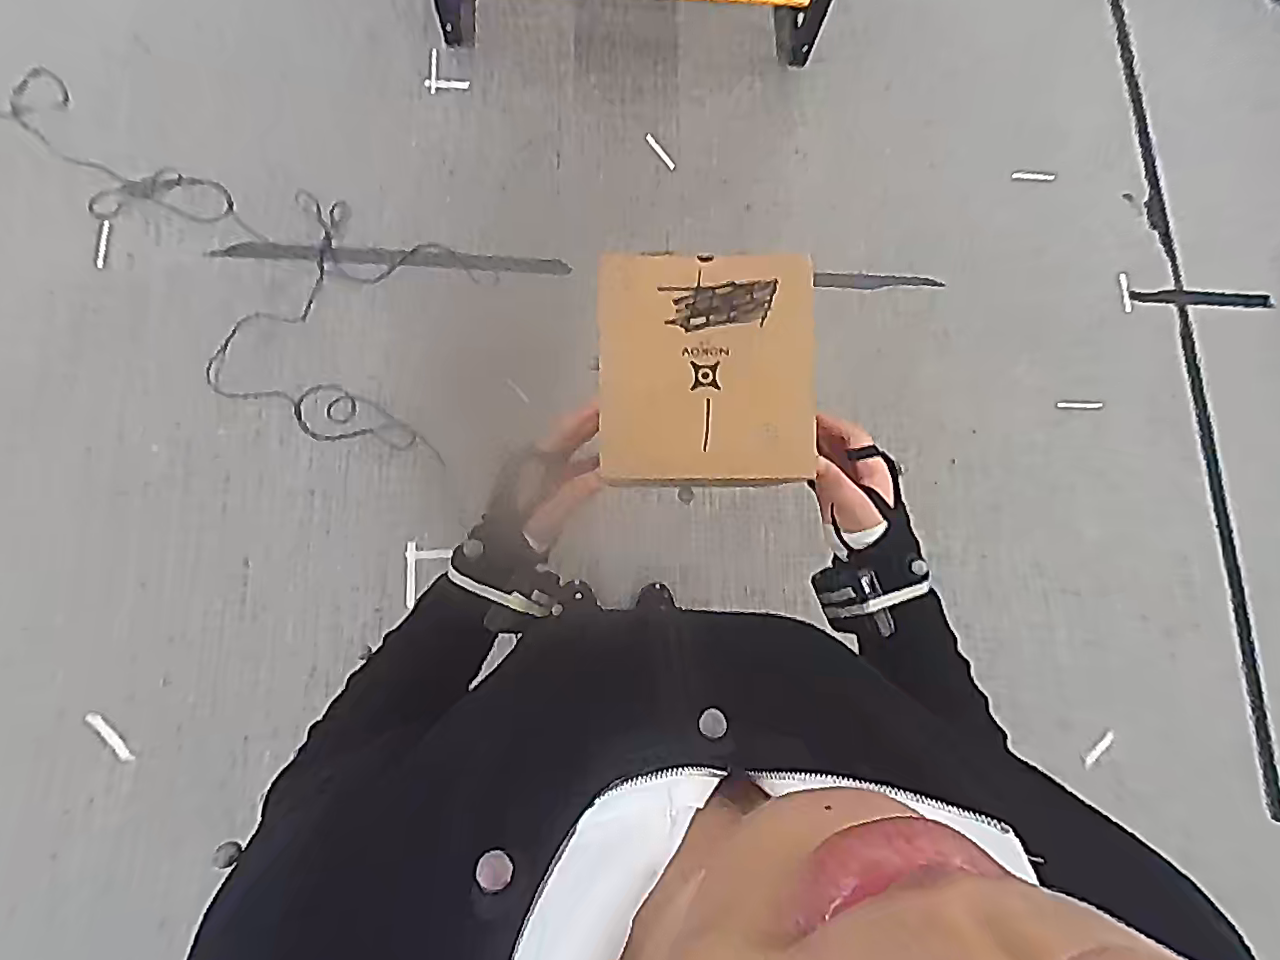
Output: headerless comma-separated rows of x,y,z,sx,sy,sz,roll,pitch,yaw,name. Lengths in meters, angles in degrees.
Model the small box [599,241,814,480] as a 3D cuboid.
0.049,-0.093,0.491,0.168,0.176,0.179,-1,87,0,small box
